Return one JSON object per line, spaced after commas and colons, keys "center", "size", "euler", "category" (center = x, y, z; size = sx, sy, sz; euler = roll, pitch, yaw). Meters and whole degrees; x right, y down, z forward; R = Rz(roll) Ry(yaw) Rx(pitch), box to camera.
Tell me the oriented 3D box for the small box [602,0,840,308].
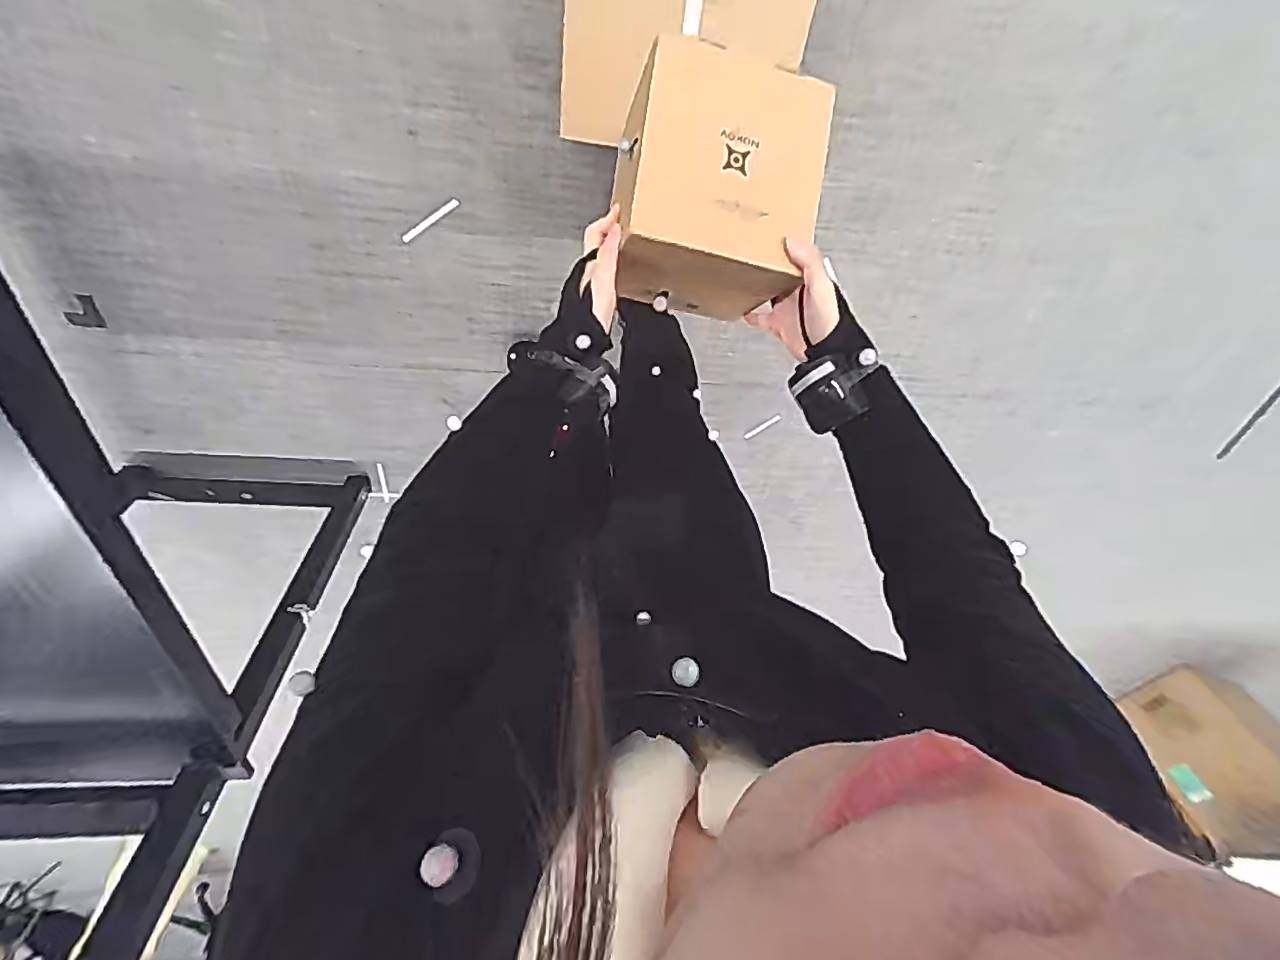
{"center": [0.065, -0.291, 0.529], "size": [0.168, 0.176, 0.179], "euler": [9, 90, -13], "category": "small box"}
